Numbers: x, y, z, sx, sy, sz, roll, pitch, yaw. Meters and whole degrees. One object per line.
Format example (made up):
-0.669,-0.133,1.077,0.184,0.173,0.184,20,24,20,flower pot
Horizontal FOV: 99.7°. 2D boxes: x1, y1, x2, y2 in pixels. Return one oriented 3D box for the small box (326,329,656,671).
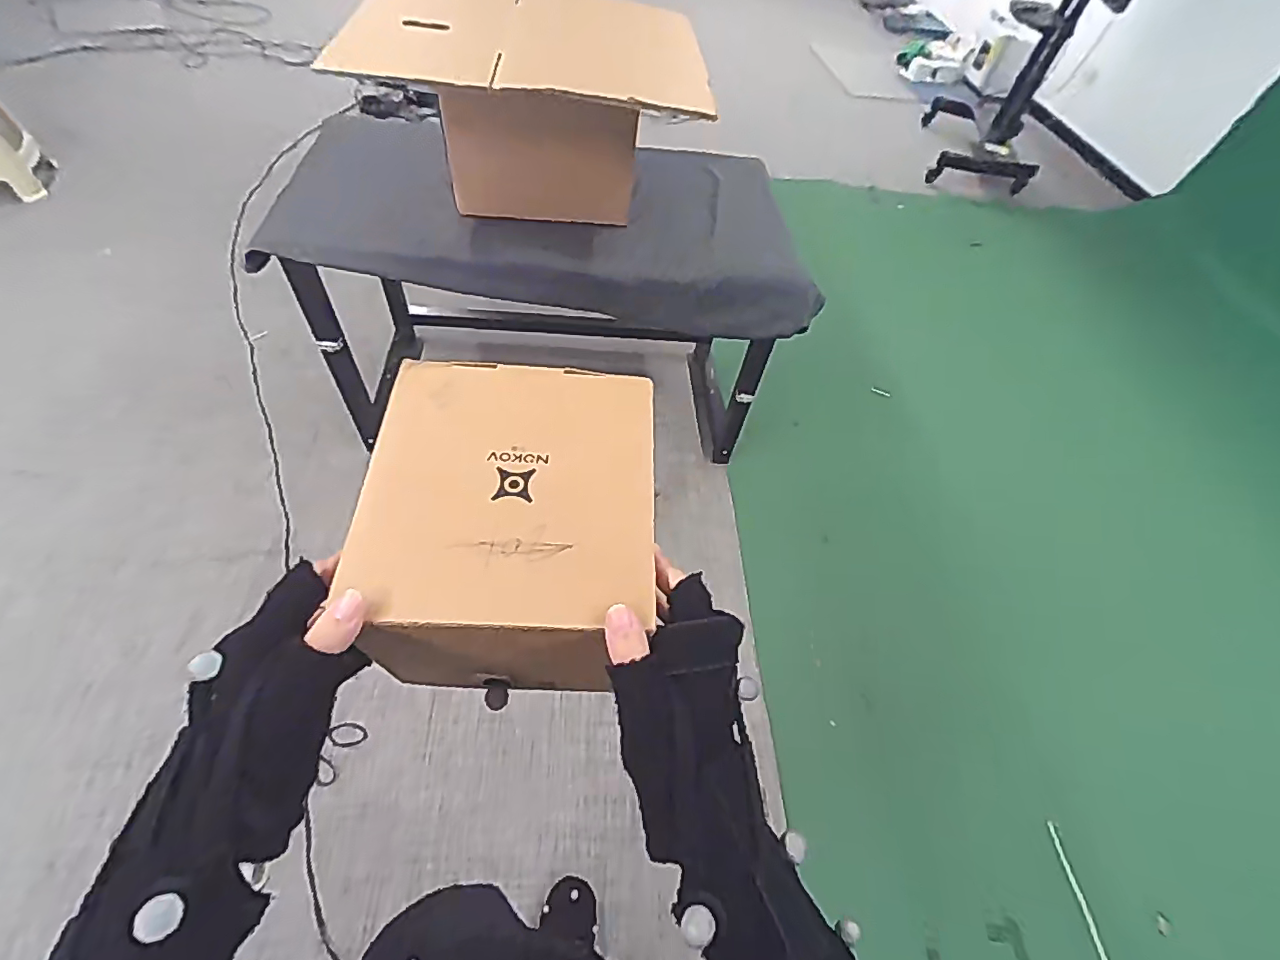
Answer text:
-0.081,0.023,0.380,0.168,0.176,0.179,4,59,-5,small box
